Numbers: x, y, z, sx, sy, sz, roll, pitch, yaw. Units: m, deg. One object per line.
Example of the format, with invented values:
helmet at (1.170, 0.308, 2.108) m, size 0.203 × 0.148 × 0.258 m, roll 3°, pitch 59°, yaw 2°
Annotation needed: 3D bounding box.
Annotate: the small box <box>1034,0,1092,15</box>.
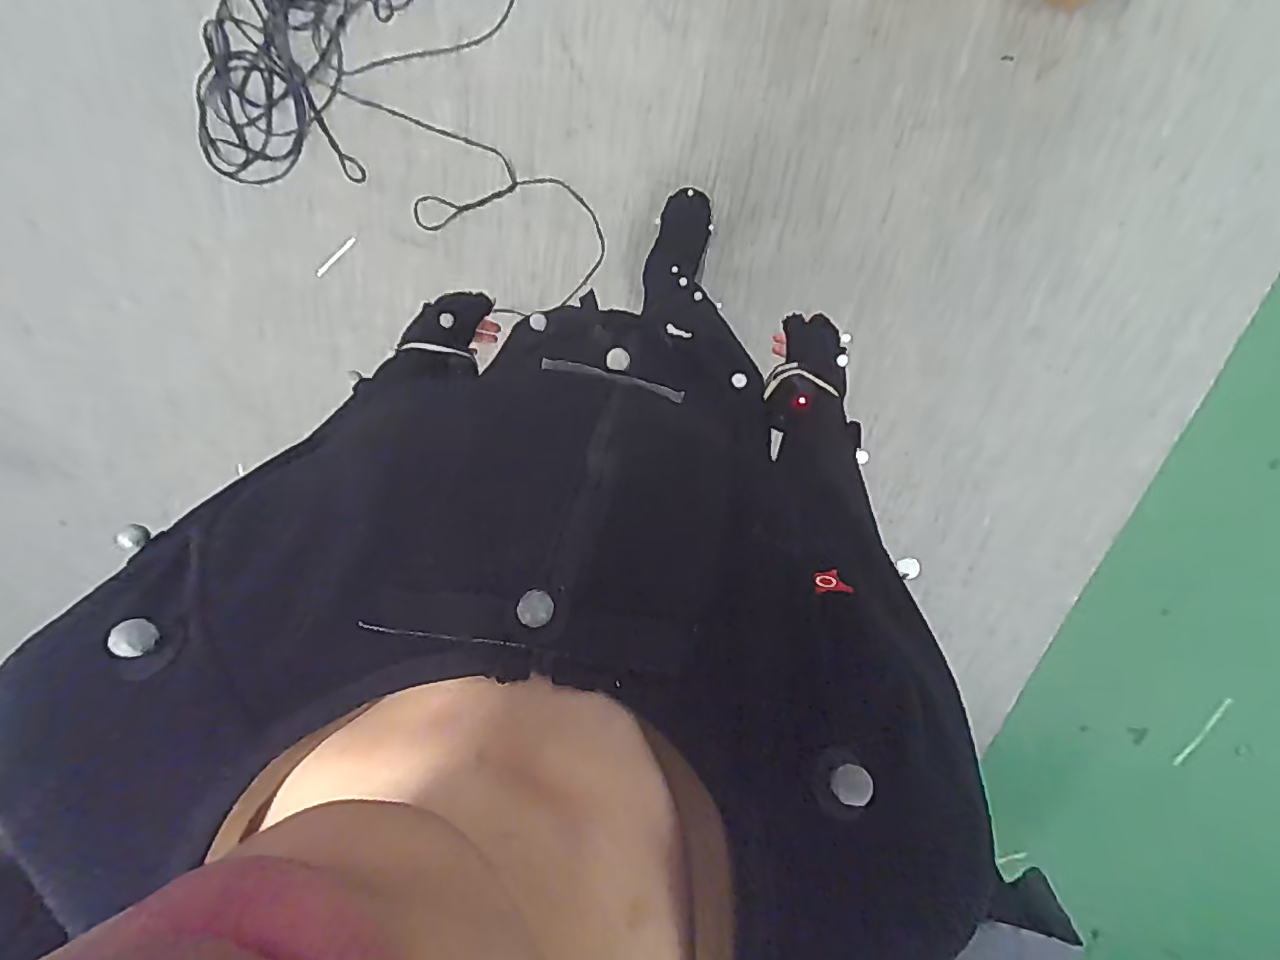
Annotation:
small box at (0.811, -0.997, 0.978) m, size 0.179 × 0.176 × 0.168 m, roll 23°, pitch 113°, yaw -9°
